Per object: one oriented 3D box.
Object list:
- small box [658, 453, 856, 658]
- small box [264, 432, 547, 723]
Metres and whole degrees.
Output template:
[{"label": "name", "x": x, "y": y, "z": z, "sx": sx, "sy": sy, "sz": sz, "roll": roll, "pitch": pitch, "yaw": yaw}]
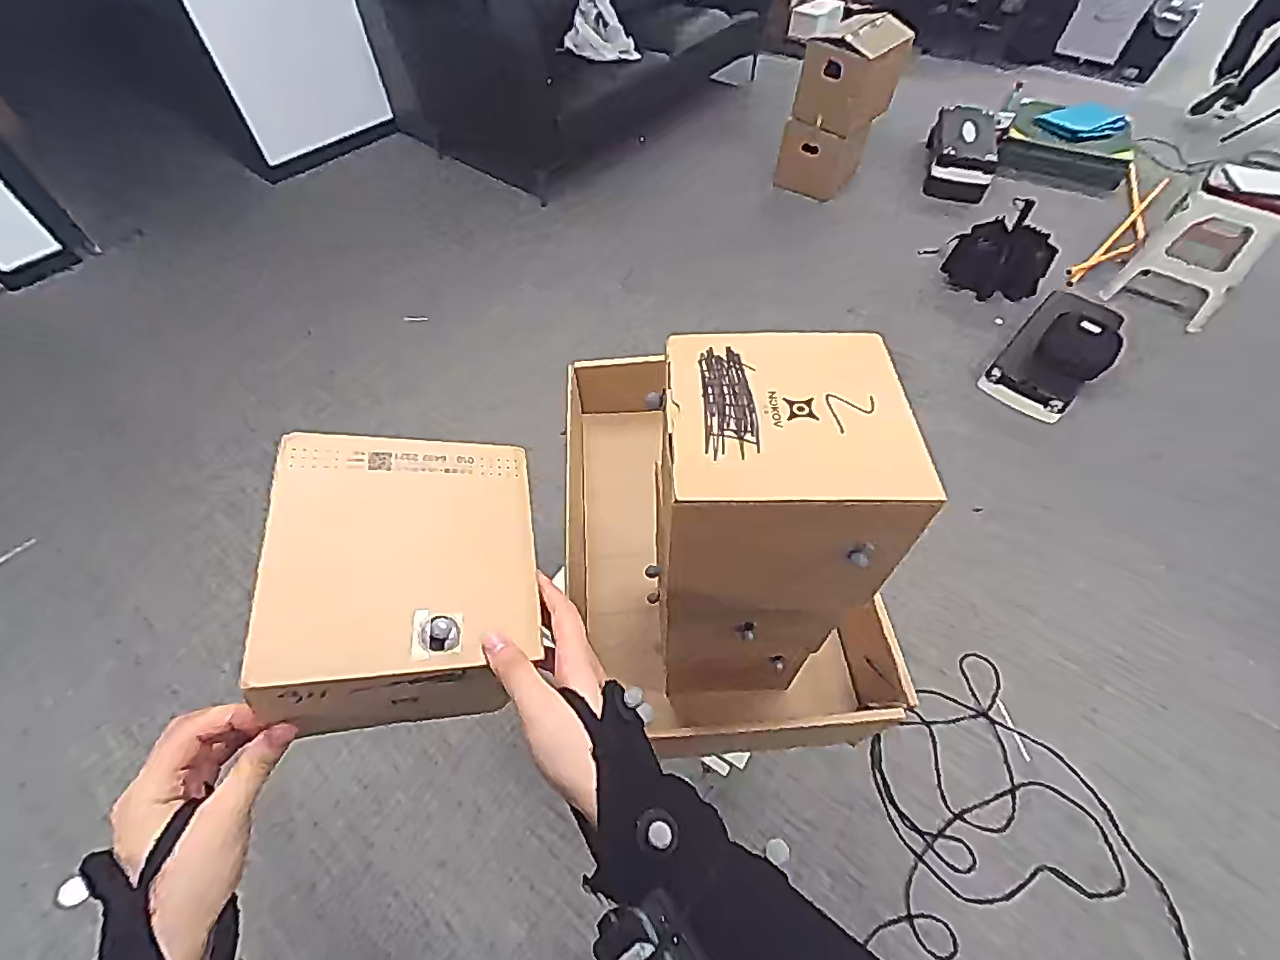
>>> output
[{"label": "small box", "x": 0.111, "y": 0.088, "z": 0.603, "sx": 0.179, "sy": 0.176, "sz": 0.168, "roll": -4, "pitch": 52, "yaw": 0}, {"label": "small box", "x": -0.180, "y": 0.084, "z": 0.435, "sx": 0.168, "sy": 0.179, "sz": 0.176, "roll": 3, "pitch": 58, "yaw": -24}]
